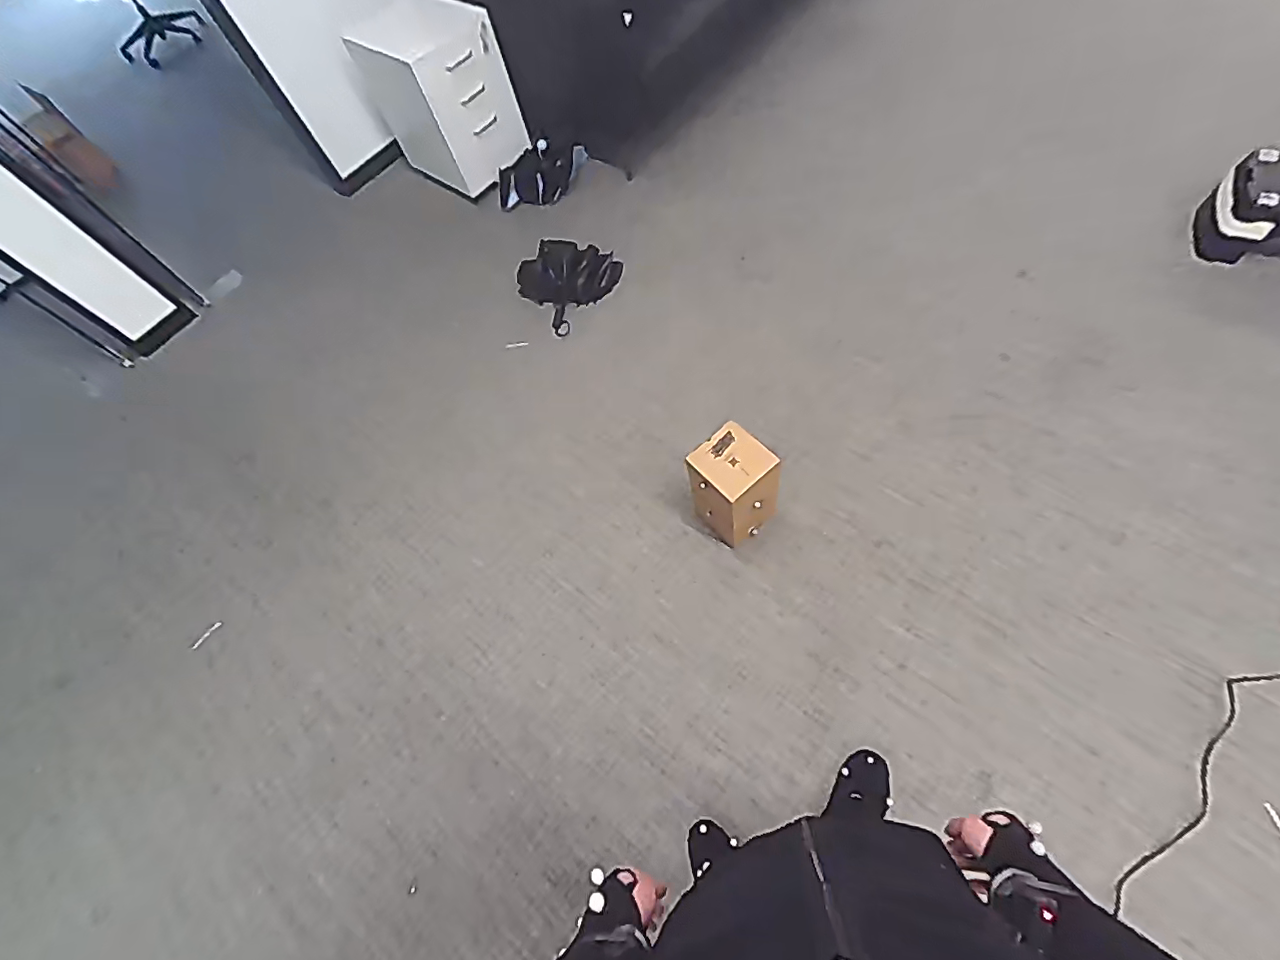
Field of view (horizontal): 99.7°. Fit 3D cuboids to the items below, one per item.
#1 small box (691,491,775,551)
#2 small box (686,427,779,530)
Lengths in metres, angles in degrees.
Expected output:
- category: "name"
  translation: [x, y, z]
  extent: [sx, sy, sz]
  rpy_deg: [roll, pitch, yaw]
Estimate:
- category: "small box"
  translation: [0.268, 0.077, 1.571]
  extent: [0.168, 0.176, 0.179]
  rpy_deg: [-40, 64, -10]
- category: "small box"
  translation: [0.243, 0.002, 1.427]
  extent: [0.168, 0.176, 0.179]
  rpy_deg: [-39, 64, -9]
